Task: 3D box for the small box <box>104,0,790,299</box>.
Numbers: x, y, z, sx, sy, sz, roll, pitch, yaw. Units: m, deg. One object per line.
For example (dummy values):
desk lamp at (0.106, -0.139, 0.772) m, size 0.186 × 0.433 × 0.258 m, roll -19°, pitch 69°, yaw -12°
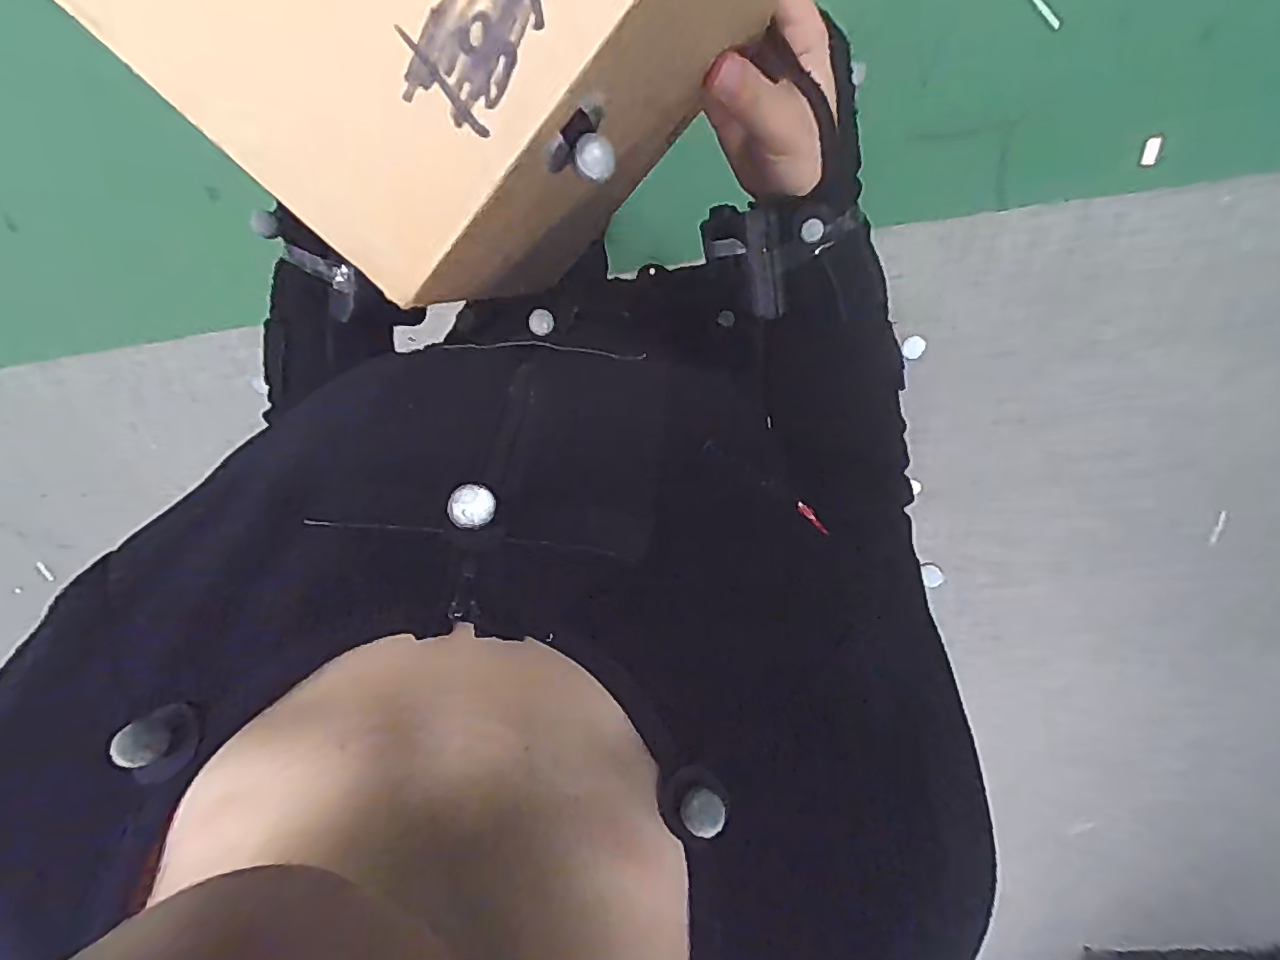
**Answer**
small box at (-0.058, -0.187, 0.195) m, size 0.179 × 0.176 × 0.168 m, roll 43°, pitch 109°, yaw -11°
